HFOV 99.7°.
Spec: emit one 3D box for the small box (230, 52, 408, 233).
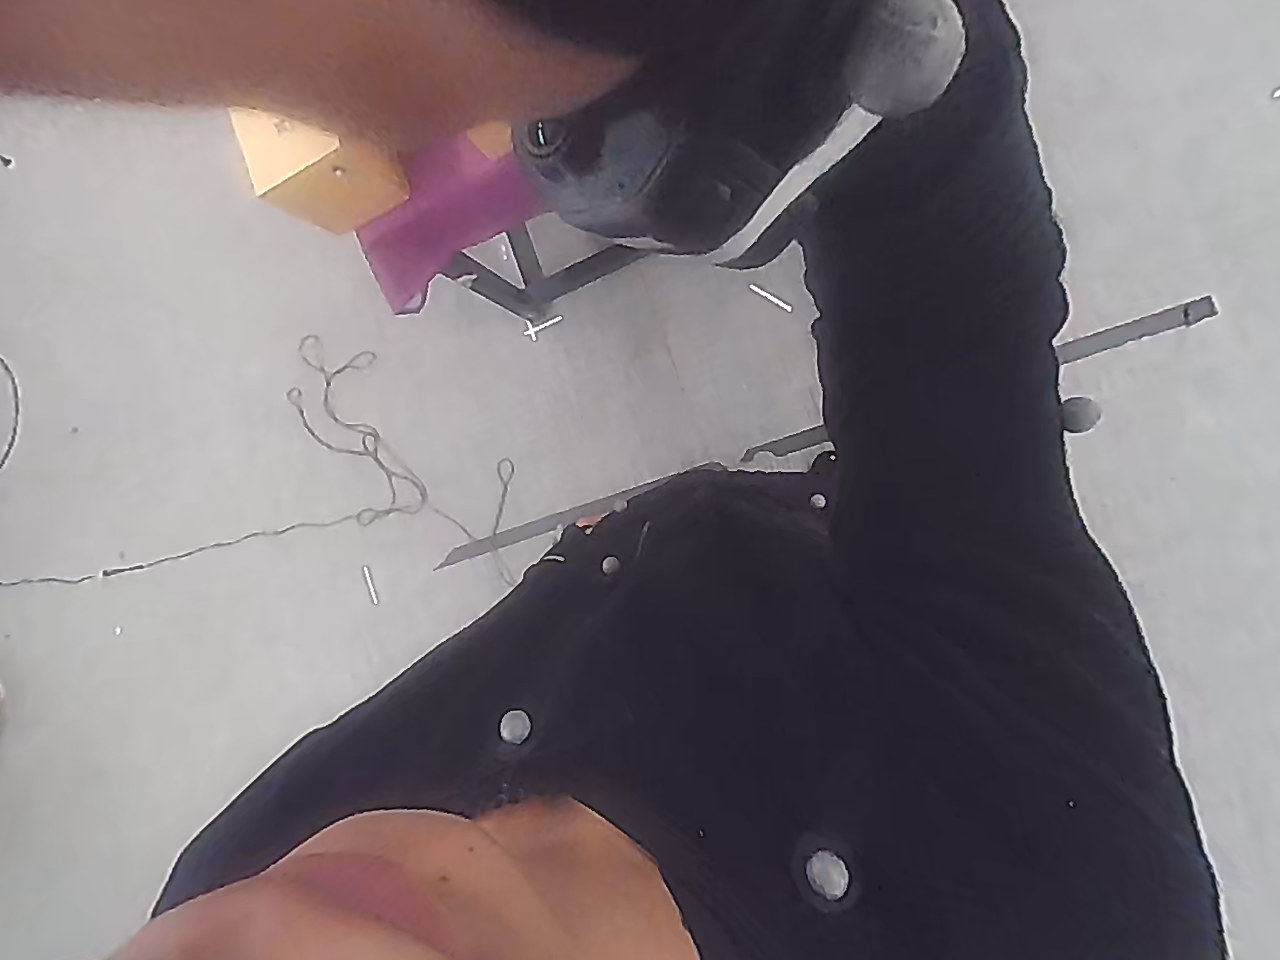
[{"bbox_3d":[-0.539,-0.560,0.926,0.179,0.176,0.168,-21,87,13],"label":"small box"}]
